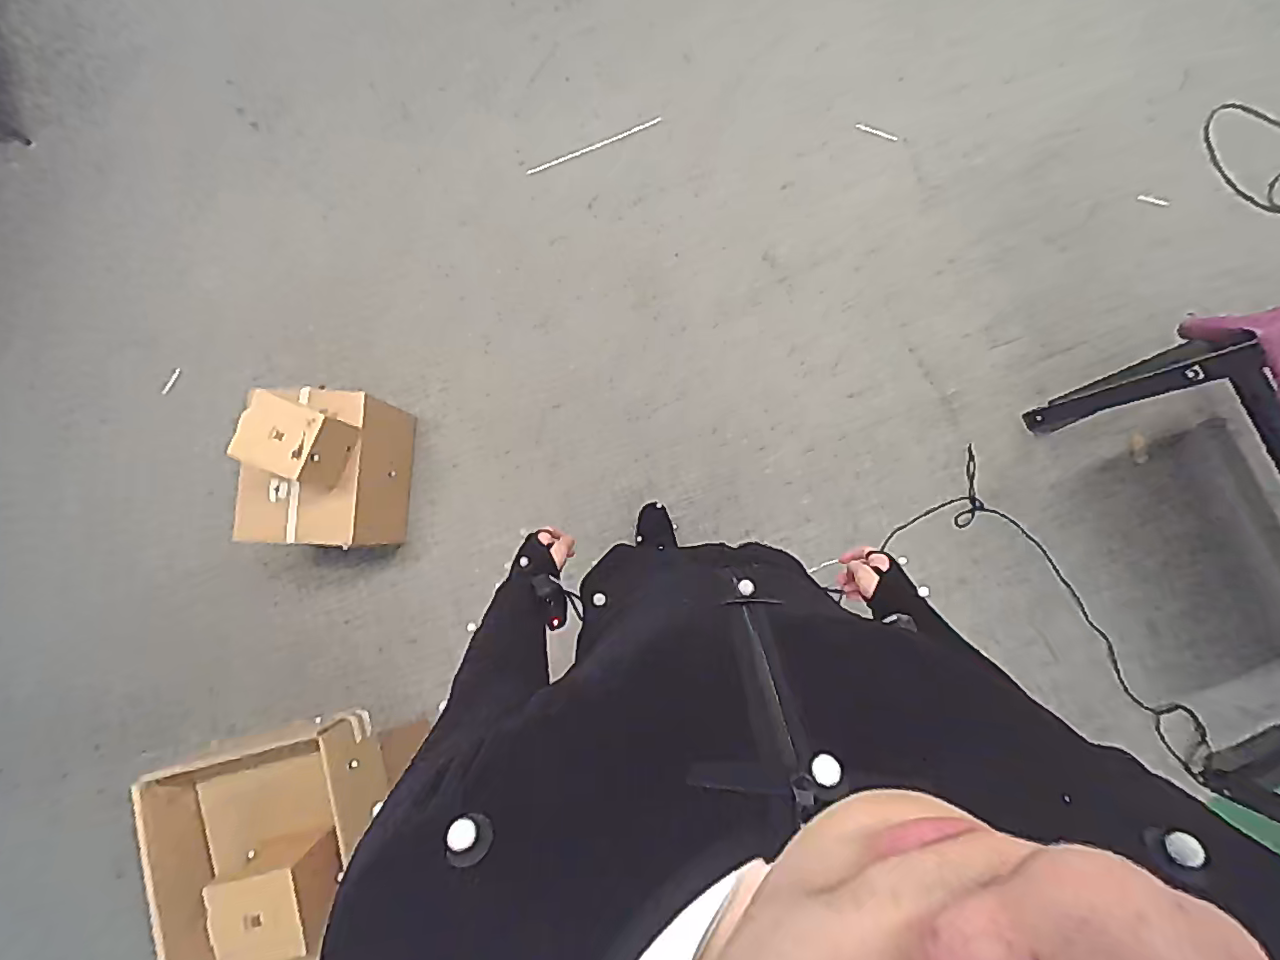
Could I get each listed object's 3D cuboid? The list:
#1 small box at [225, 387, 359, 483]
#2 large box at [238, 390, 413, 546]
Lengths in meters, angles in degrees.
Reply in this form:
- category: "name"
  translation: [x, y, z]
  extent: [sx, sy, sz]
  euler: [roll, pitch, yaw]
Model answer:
- category: "small box"
  translation: [-0.817, -0.098, 1.287]
  extent: [0.179, 0.176, 0.168]
  euler: [22, 85, 2]
- category: "large box"
  translation: [-0.863, -0.024, 1.529]
  extent: [0.320, 0.320, 0.408]
  euler: [2, 86, 2]
